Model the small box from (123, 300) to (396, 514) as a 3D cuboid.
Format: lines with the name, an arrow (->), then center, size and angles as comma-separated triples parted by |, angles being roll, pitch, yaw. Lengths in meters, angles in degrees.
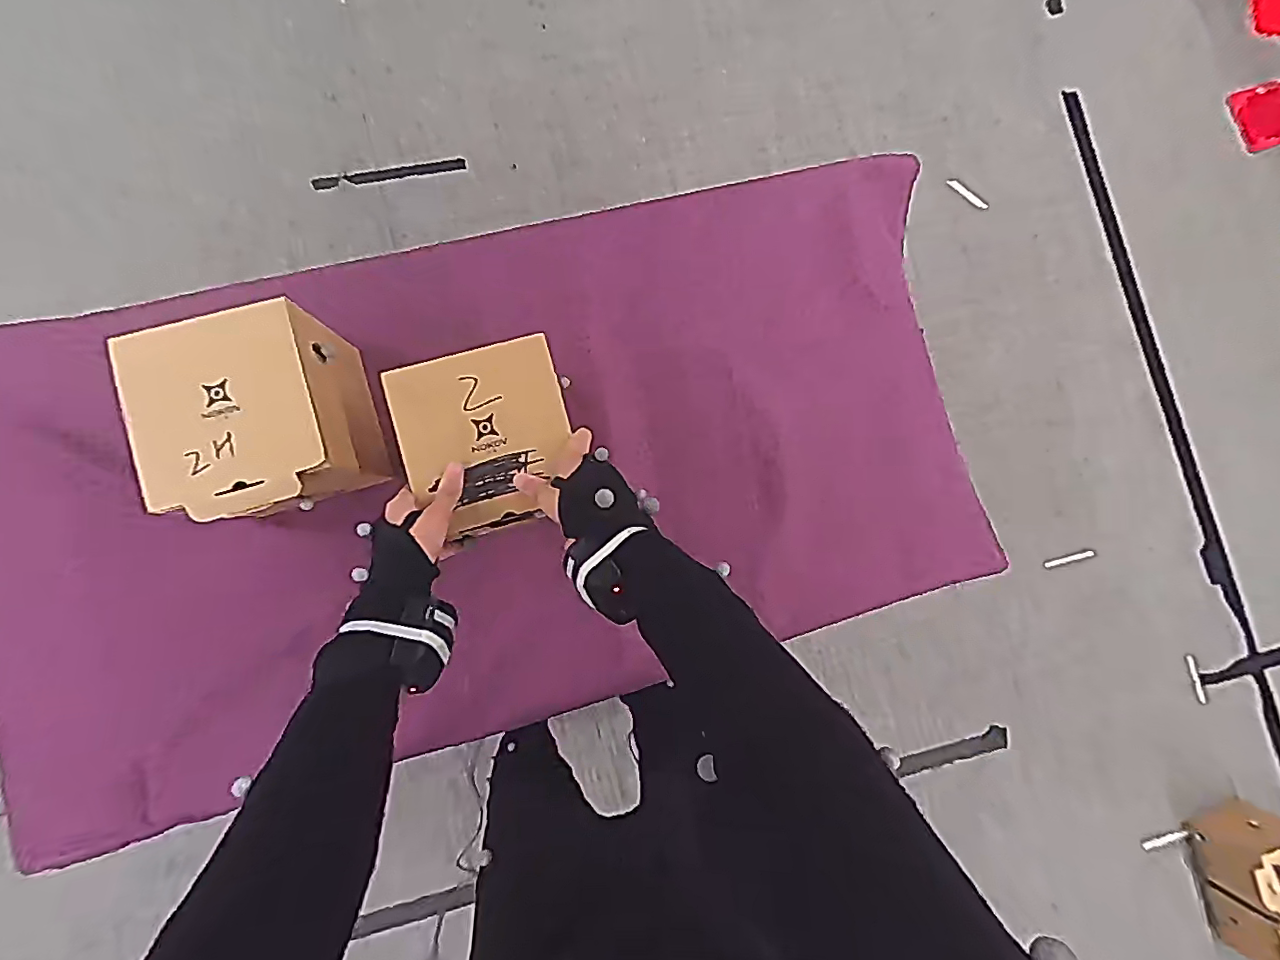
small box -> -0.397, -0.066, 0.595 | 0.168, 0.176, 0.179 | -16, 87, -5
